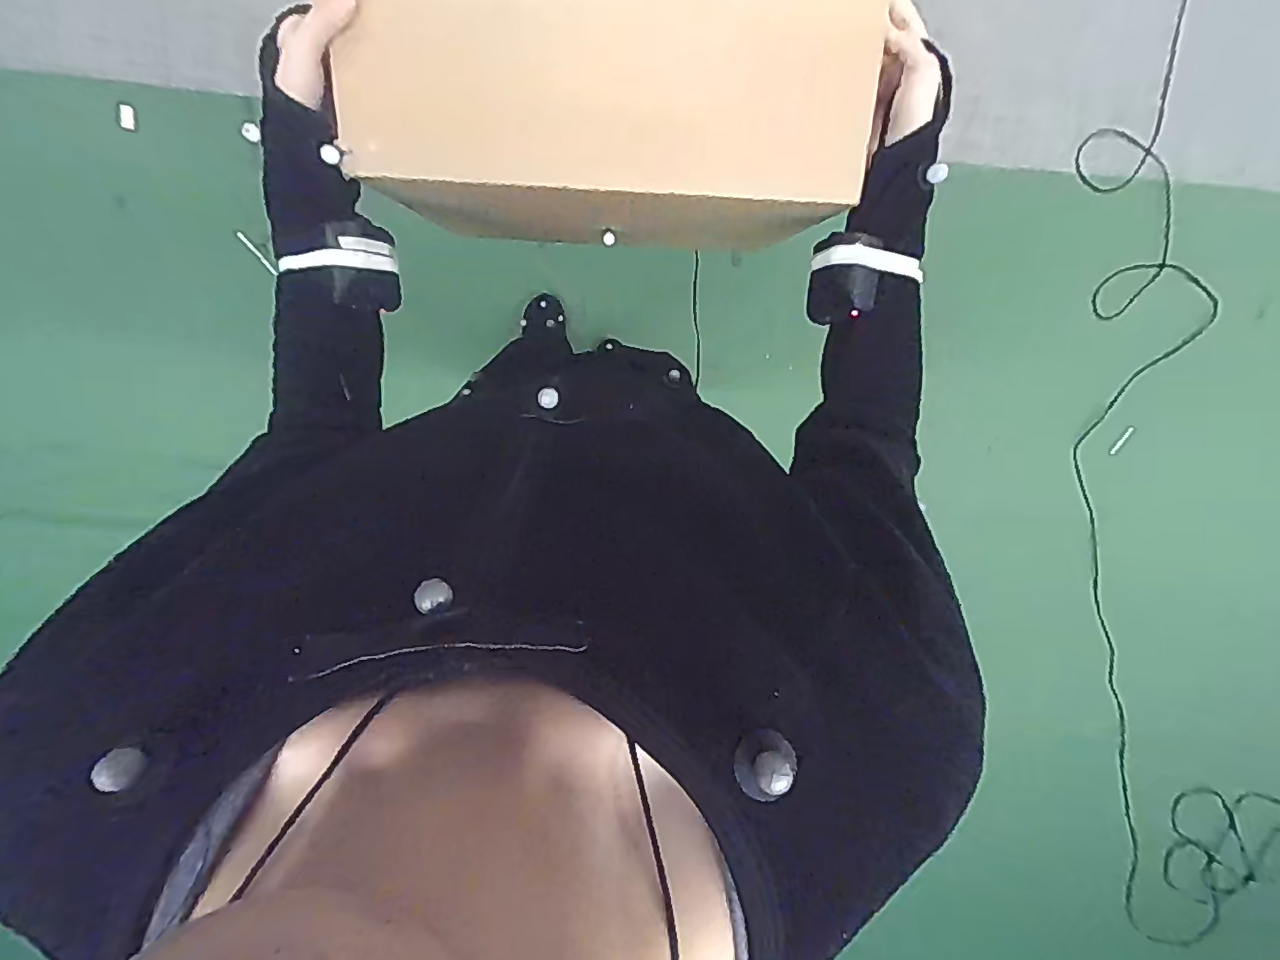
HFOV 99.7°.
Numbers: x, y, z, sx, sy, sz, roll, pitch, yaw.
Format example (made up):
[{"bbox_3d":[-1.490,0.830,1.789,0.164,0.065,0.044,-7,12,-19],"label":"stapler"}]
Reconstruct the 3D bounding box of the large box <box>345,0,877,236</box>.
[{"bbox_3d":[-0.021,-0.431,0.536,0.408,0.320,0.320,1,106,-3],"label":"large box"}]
